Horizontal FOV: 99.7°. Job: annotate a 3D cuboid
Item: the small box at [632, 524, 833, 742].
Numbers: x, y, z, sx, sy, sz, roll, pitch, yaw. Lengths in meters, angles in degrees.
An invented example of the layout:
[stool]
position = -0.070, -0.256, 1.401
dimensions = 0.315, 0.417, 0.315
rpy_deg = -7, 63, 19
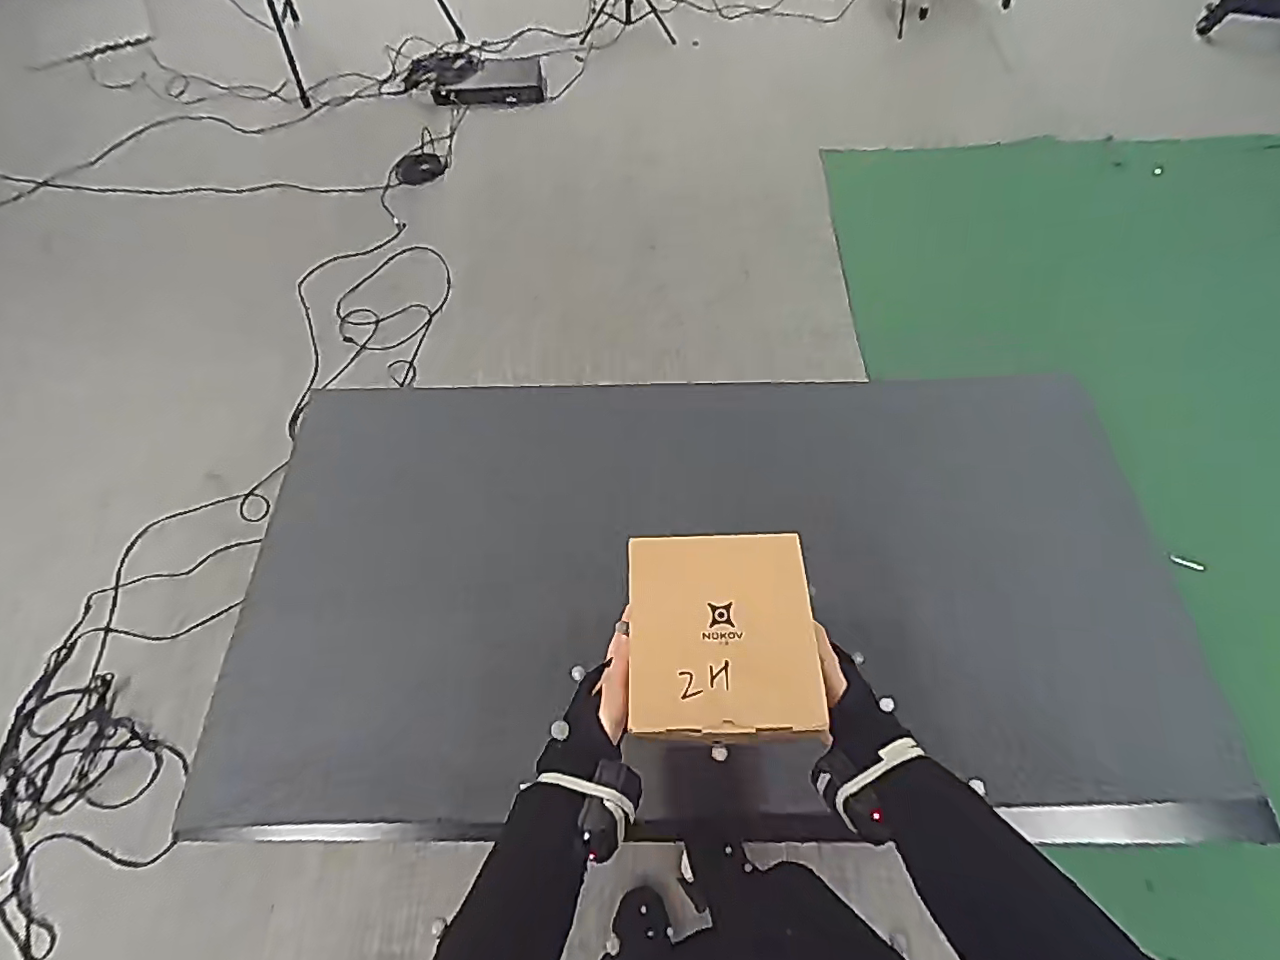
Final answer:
[small box]
position = 0.079, 0.159, 0.547
dimensions = 0.168, 0.176, 0.179
rpy_deg = -2, 59, 3
